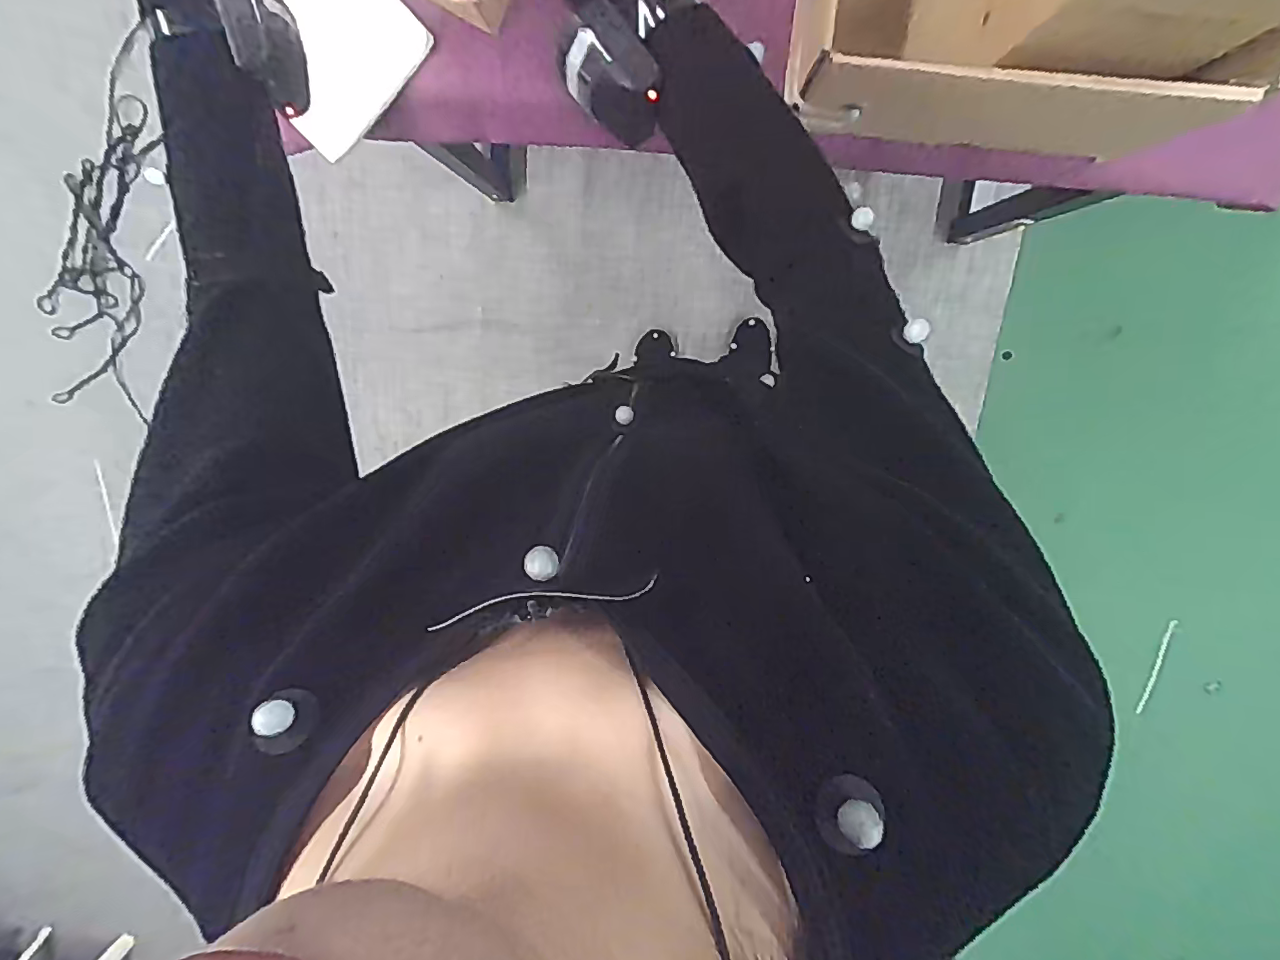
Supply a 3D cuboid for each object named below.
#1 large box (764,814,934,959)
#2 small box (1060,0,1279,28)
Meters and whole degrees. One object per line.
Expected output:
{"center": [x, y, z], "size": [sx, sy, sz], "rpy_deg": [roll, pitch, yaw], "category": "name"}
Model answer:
{"center": [0.625, 1.292, 1.659], "size": [0.408, 0.320, 0.320], "rpy_deg": [-9, 104, 5], "category": "large box"}
{"center": [0.420, -0.422, 0.333], "size": [0.179, 0.176, 0.168], "rpy_deg": [9, 104, 4], "category": "small box"}
